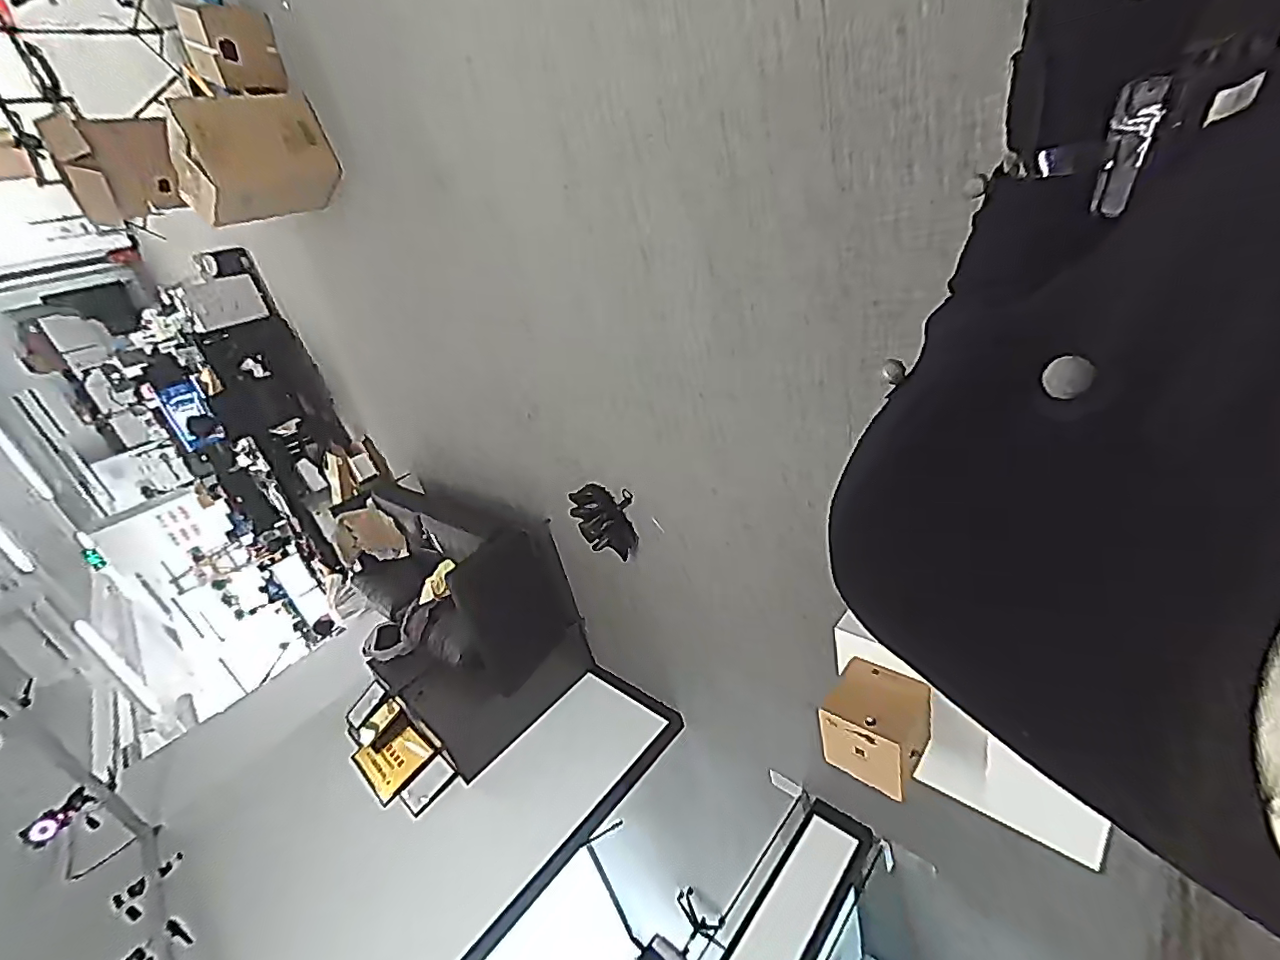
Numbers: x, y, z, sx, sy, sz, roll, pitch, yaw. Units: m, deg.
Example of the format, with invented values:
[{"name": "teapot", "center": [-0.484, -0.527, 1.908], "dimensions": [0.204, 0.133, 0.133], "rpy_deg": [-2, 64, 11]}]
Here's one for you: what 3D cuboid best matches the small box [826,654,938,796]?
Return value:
[{"name": "small box", "center": [0.518, 0.510, 1.147], "dimensions": [0.168, 0.176, 0.179], "rpy_deg": [11, 127, 44]}]
